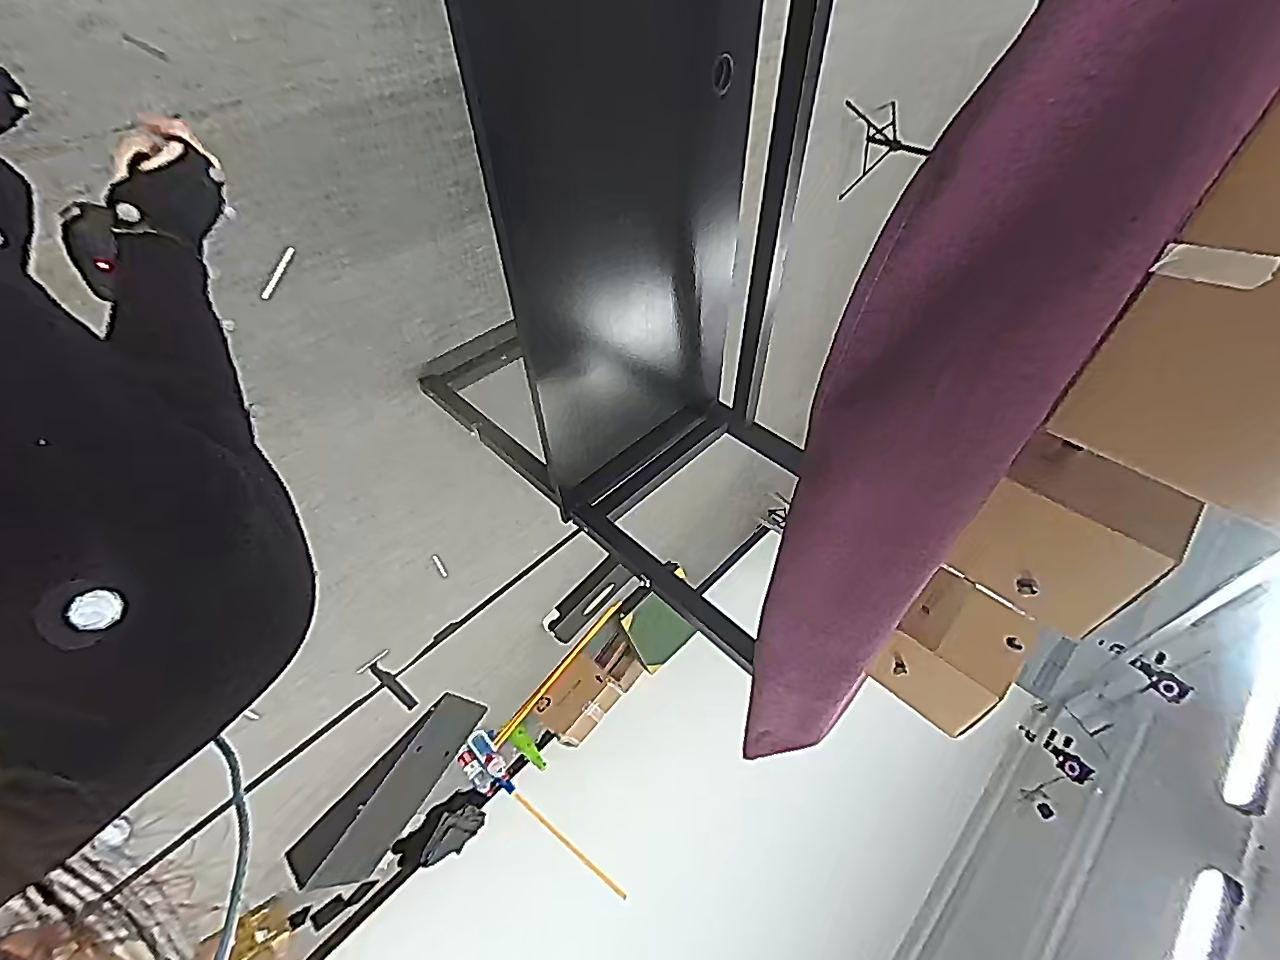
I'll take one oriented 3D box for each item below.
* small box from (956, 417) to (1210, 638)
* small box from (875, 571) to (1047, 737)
[{"bbox_3d":[0.516,0.047,0.650,0.168,0.176,0.179,-38,147,-28],"label":"small box"},{"bbox_3d":[0.526,0.287,0.912,0.168,0.176,0.179,-37,147,-29],"label":"small box"}]
